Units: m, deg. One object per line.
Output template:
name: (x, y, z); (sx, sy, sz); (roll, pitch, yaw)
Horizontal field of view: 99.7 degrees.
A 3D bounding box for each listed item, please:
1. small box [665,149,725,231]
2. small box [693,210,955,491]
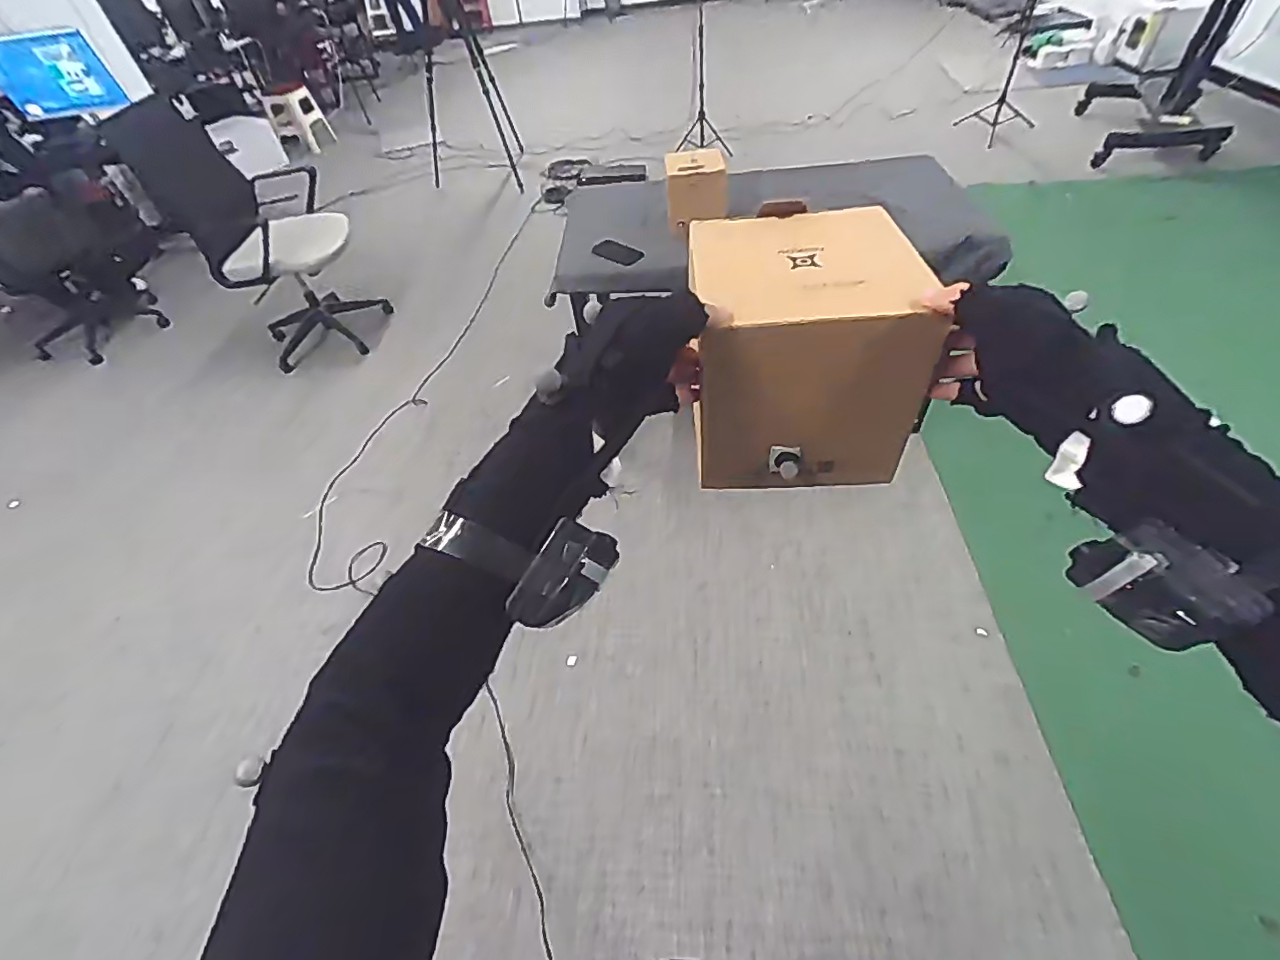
small box: (0.163, -0.854, 1.604); (0.168, 0.176, 0.179); (-4, 48, 3)
small box: (0.133, -0.111, 0.473); (0.168, 0.176, 0.179); (-3, 48, 4)
